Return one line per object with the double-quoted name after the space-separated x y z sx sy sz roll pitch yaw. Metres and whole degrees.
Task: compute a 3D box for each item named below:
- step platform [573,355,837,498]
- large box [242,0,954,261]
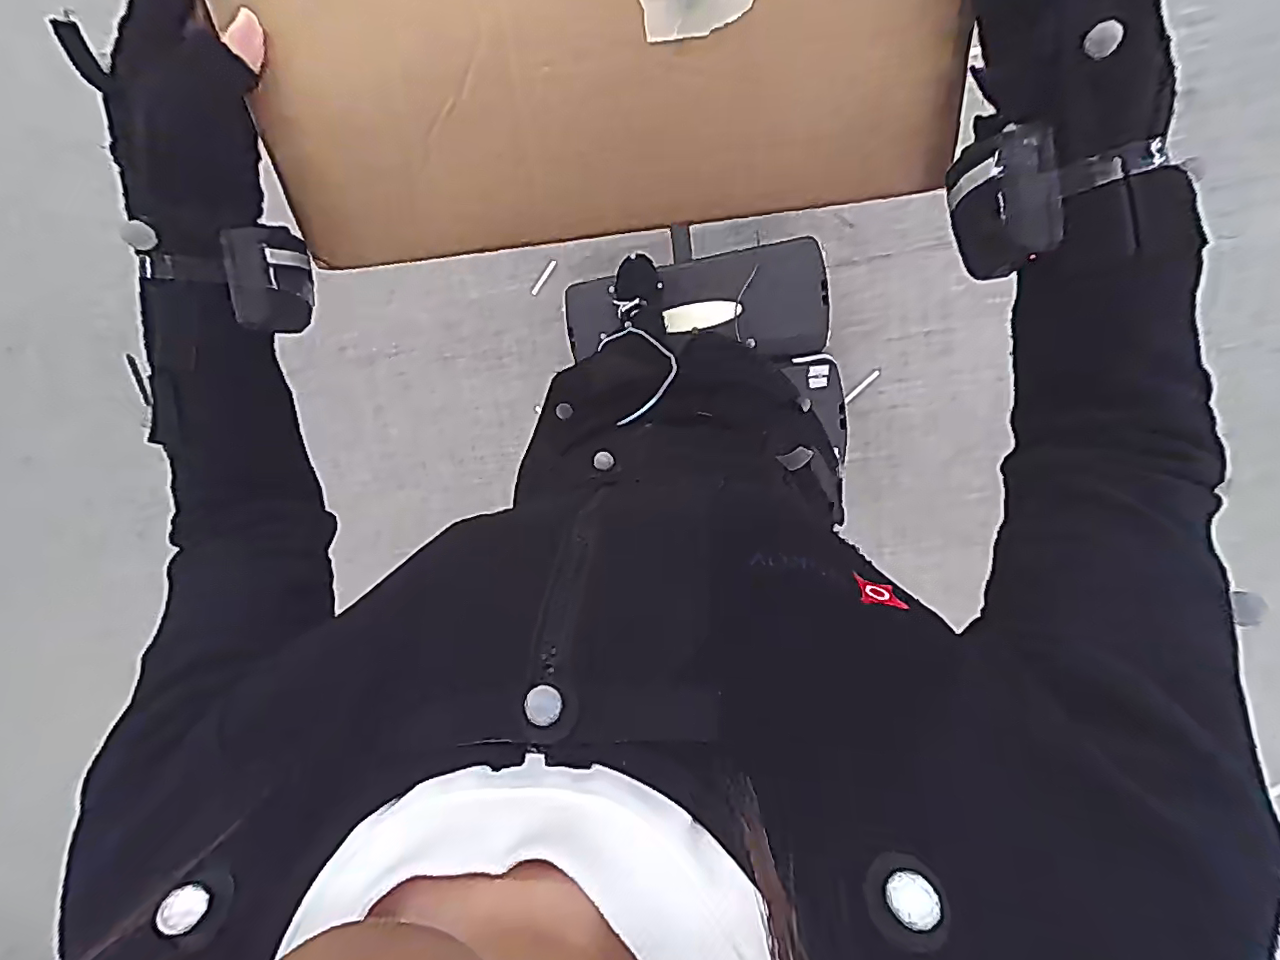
0.166 -0.136 1.446 0.684 0.204 0.286 -7 104 14 "step platform"
-0.025 -0.377 0.409 0.408 0.320 0.320 -4 120 9 "large box"
